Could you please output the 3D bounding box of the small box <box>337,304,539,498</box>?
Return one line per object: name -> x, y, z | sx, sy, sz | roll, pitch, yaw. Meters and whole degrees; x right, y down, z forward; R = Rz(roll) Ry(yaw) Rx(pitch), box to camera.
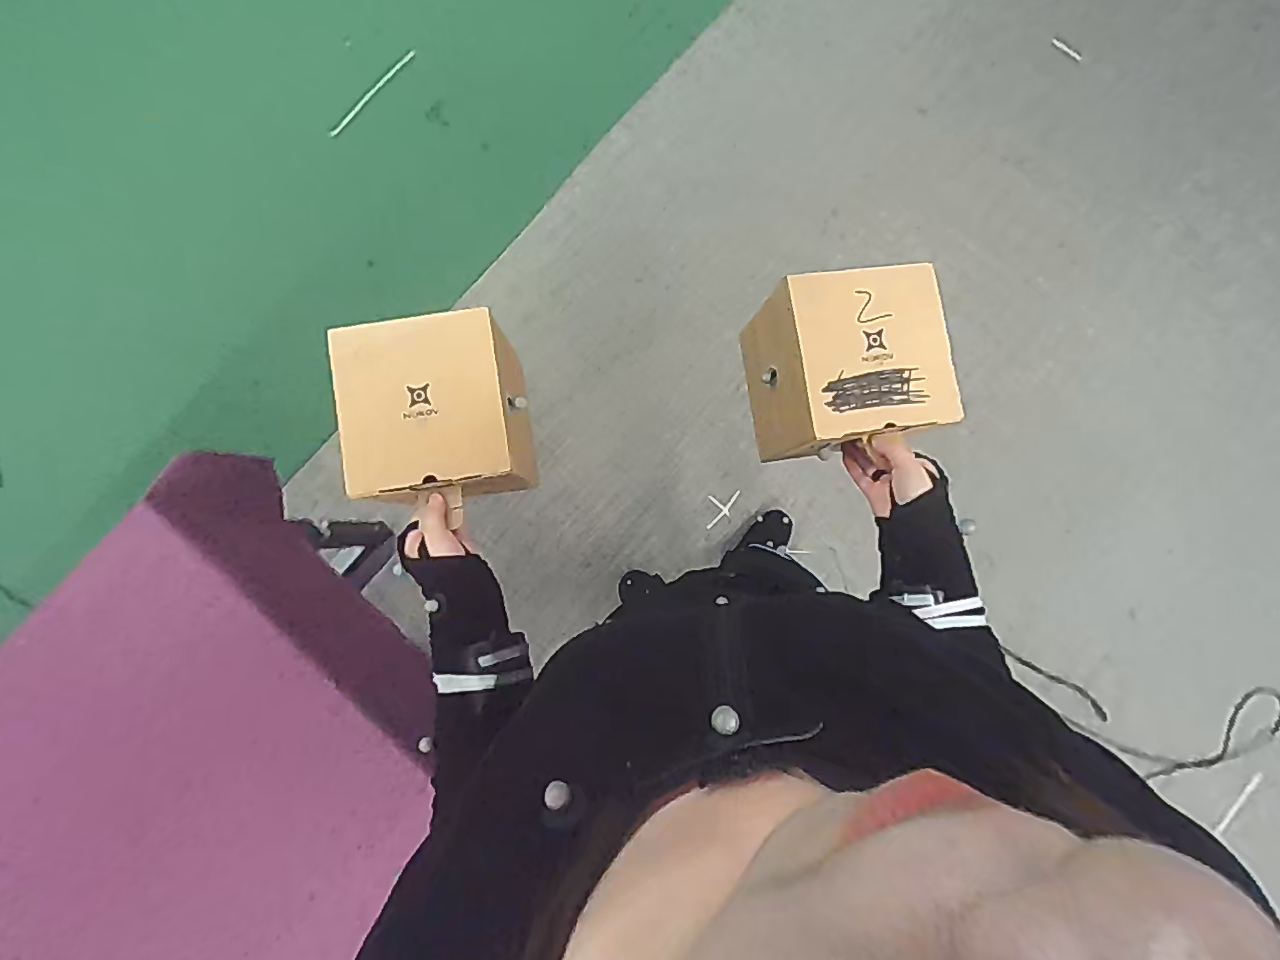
small box -> -0.216, -0.078, 0.618 | 0.168, 0.176, 0.179 | -8, 86, -3
